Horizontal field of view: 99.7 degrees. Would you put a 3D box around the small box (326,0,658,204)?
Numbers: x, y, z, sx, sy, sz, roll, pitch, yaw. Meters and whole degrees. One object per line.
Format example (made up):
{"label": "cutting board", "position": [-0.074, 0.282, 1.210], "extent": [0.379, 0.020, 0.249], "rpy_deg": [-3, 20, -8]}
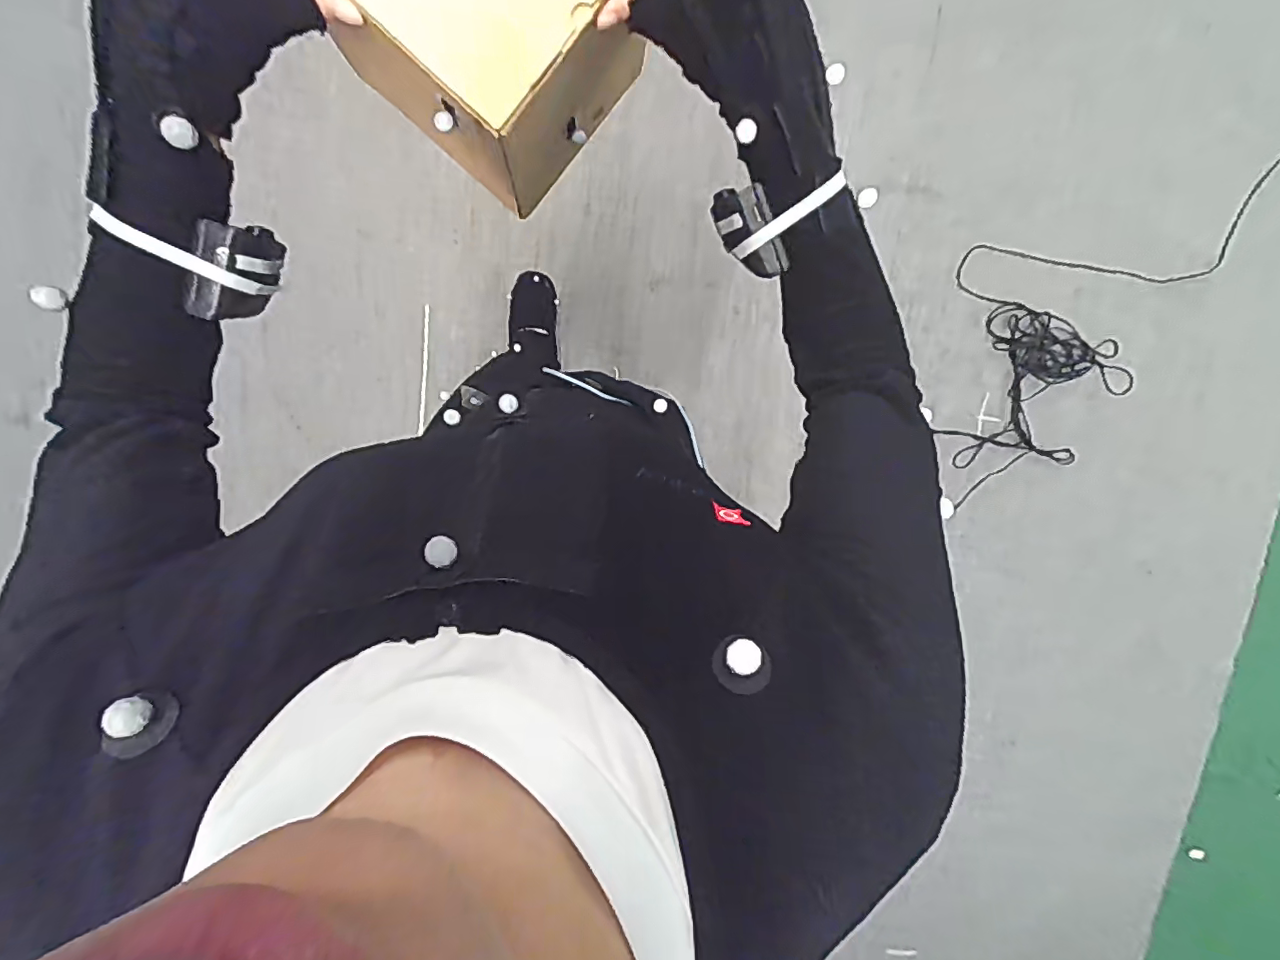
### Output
{"label": "small box", "position": [-0.106, -0.338, 0.385], "extent": [0.179, 0.176, 0.168], "rpy_deg": [40, 91, -14]}
